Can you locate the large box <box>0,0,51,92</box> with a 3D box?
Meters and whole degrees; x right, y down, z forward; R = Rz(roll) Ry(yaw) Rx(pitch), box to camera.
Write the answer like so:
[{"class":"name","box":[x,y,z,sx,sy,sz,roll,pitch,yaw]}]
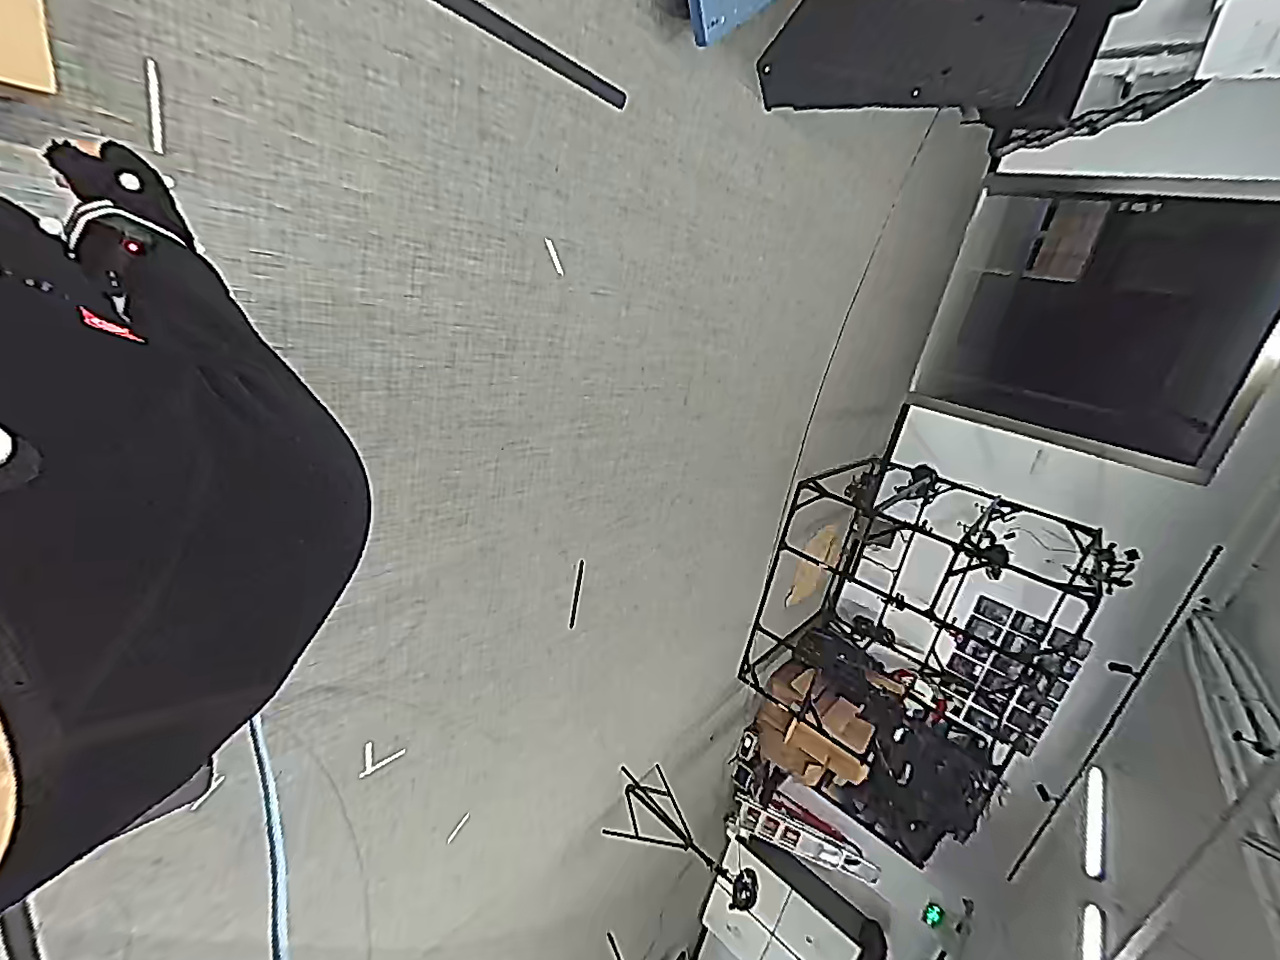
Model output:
[{"class":"large box","box":[-1.019,-0.691,0.614,0.408,0.320,0.320,-17,124,-50]}]
